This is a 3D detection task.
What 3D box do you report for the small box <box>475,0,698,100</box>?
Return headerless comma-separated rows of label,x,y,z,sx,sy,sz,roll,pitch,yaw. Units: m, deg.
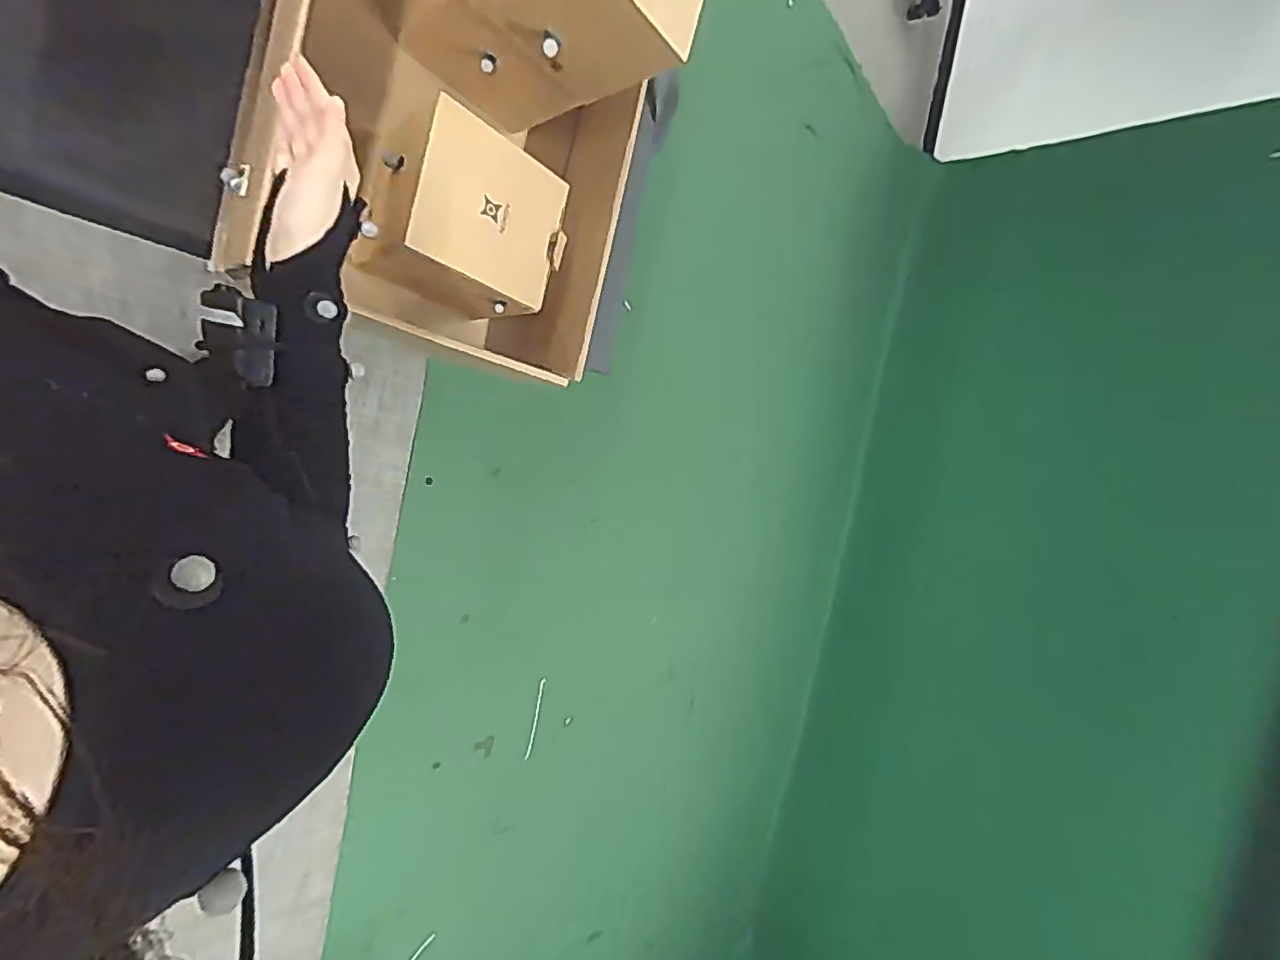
small box,-0.047,-0.540,0.550,0.168,0.176,0.179,13,93,-47
